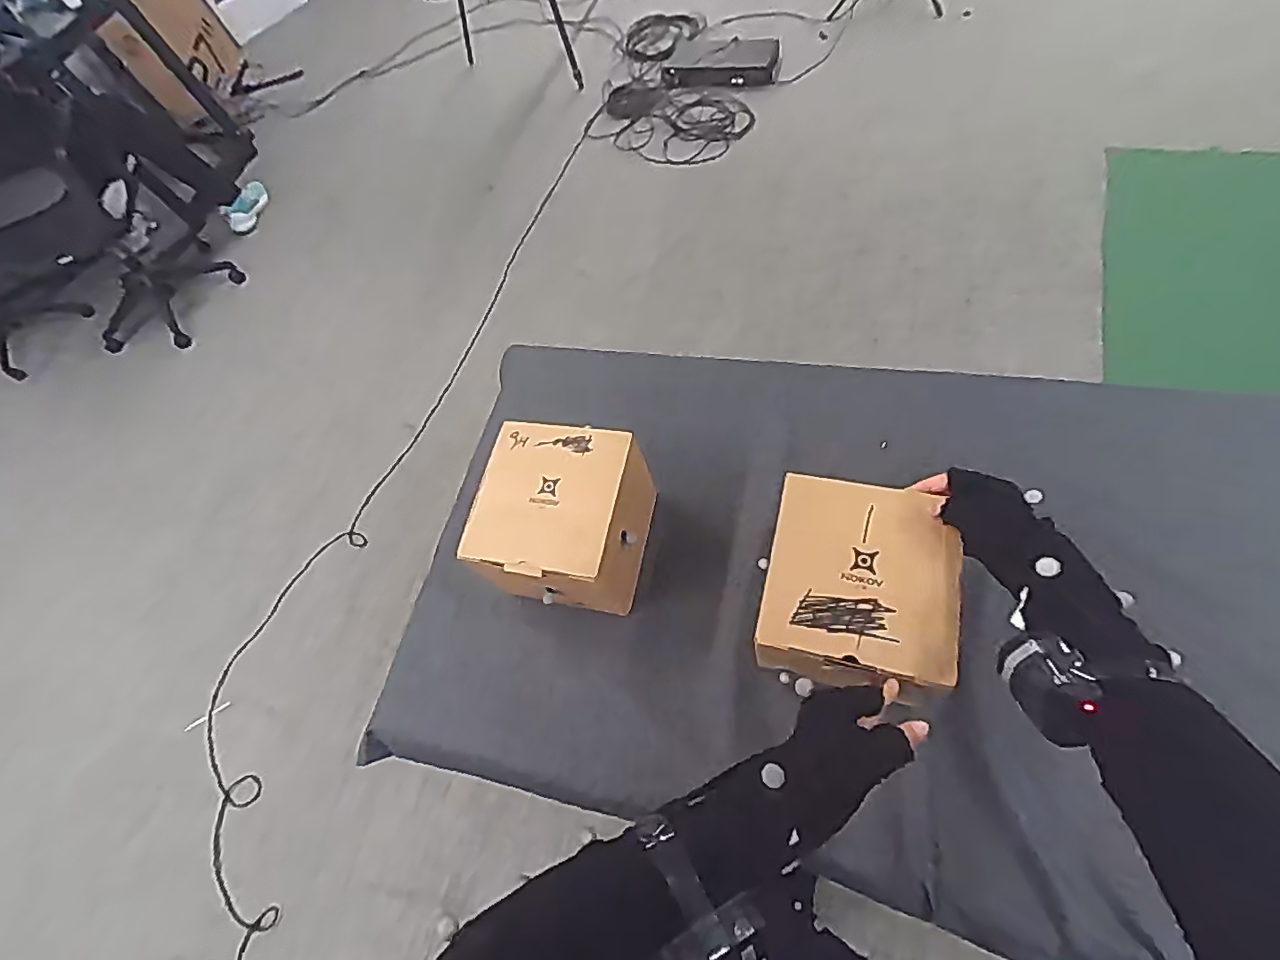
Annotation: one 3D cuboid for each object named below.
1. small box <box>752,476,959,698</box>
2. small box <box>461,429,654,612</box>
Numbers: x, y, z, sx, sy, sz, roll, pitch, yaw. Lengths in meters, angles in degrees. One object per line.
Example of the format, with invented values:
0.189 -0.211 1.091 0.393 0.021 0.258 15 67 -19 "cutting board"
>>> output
0.220 0.119 0.573 0.168 0.176 0.179 9 66 18 "small box"
-0.088 0.056 0.677 0.168 0.176 0.179 6 67 16 "small box"
